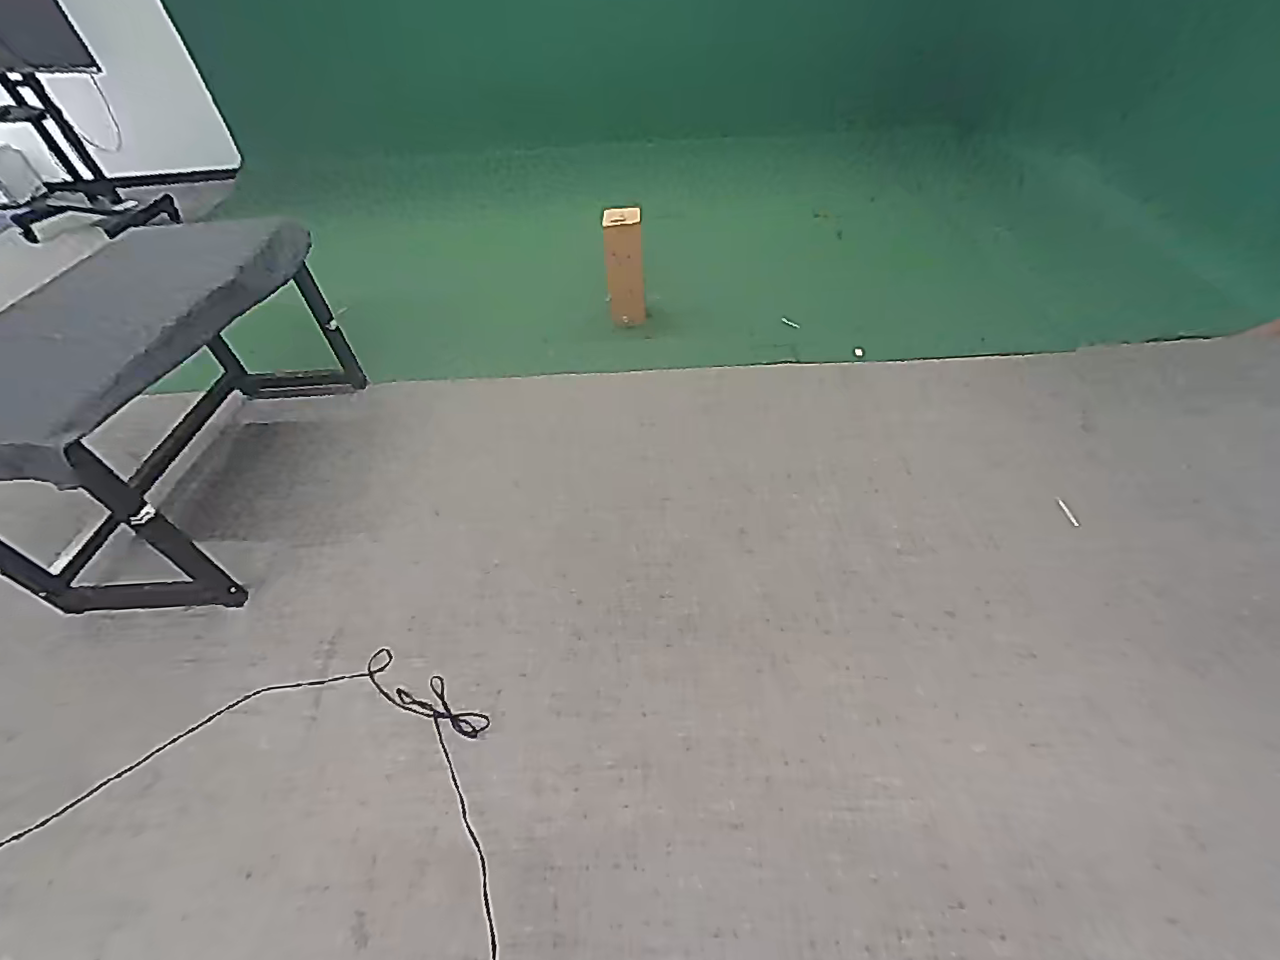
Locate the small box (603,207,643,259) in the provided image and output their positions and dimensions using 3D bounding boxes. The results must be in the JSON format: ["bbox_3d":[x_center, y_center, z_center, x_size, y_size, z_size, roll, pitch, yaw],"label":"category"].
[{"bbox_3d":[-0.073,-1.117,2.454,0.168,0.176,0.179,-3,46,3],"label":"small box"}]

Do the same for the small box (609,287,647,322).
[{"bbox_3d":[-0.058,-0.903,2.677,0.168,0.176,0.179,-2,47,6],"label":"small box"}]

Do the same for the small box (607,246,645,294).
[{"bbox_3d":[-0.063,-1.003,2.573,0.168,0.176,0.179,-2,46,4],"label":"small box"}]
